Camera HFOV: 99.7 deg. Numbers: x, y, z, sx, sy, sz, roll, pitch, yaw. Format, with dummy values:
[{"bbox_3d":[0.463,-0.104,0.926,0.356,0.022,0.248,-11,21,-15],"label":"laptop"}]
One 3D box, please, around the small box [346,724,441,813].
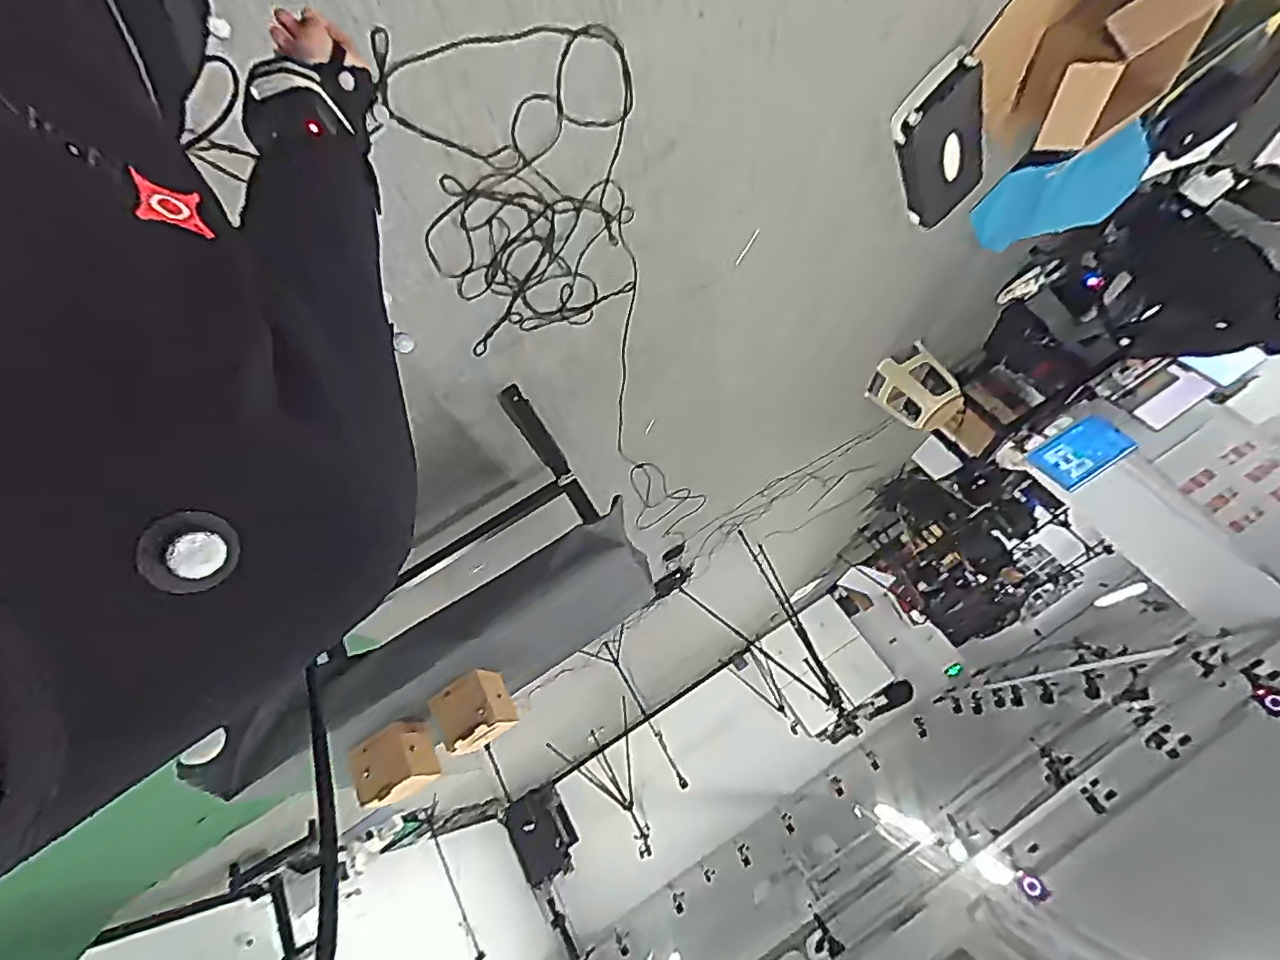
[{"bbox_3d":[-0.728,0.841,1.595,0.168,0.176,0.179,-32,154,-4],"label":"small box"}]
